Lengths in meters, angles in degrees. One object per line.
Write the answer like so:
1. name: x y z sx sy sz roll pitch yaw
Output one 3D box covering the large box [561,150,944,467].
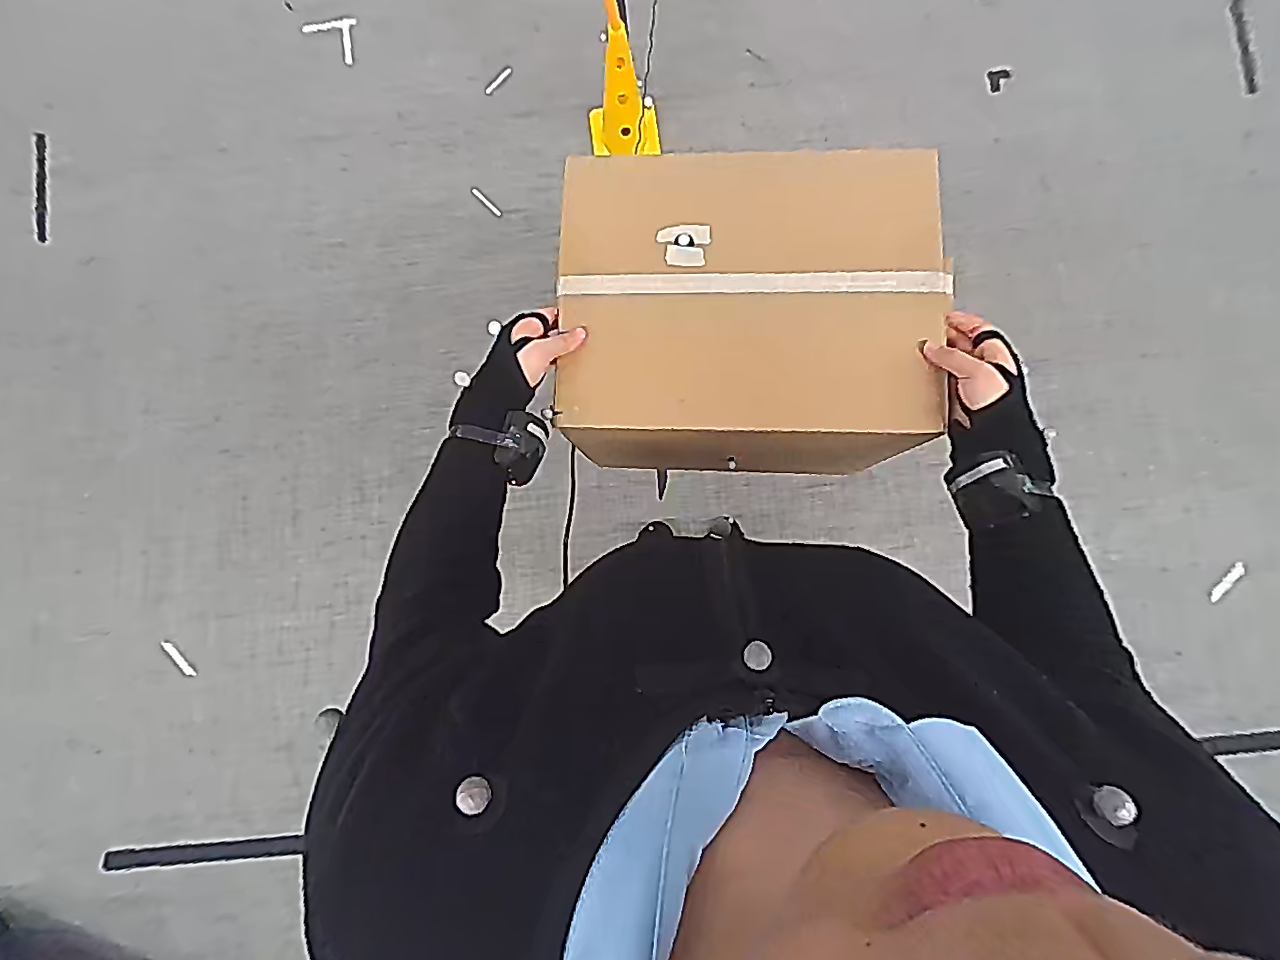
1. large box: 0.131 -0.189 0.732 0.408 0.320 0.320 1 82 6
